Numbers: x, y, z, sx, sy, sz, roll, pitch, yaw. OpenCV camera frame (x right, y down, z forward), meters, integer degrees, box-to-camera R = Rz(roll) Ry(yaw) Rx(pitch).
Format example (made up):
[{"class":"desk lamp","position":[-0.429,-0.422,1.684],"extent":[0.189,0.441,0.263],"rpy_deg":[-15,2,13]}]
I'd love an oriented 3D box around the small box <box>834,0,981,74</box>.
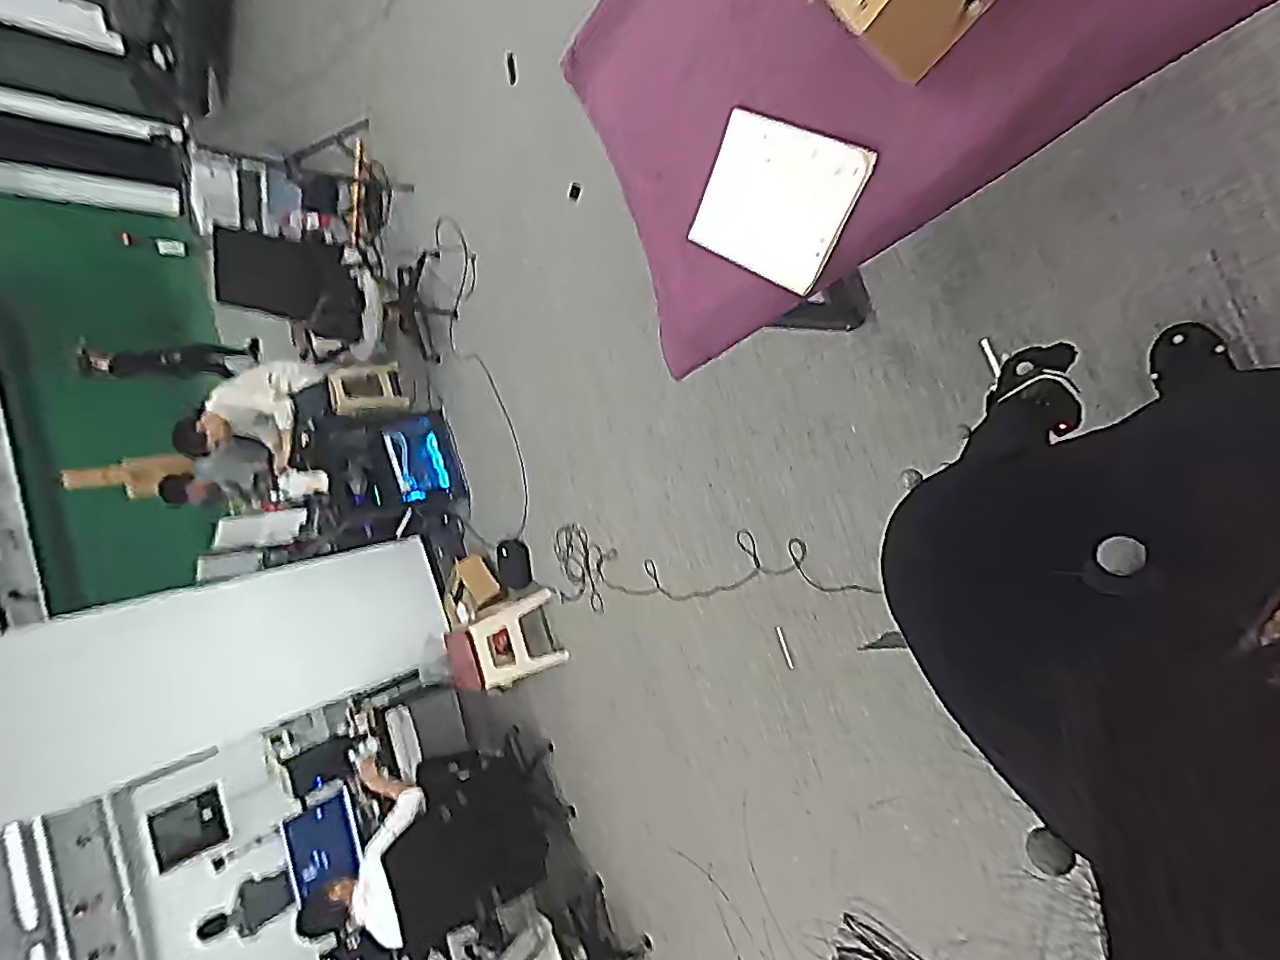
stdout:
[{"class":"small box","position":[0.298,-0.606,0.592],"extent":[0.179,0.176,0.168],"rpy_deg":[-41,70,43]}]
